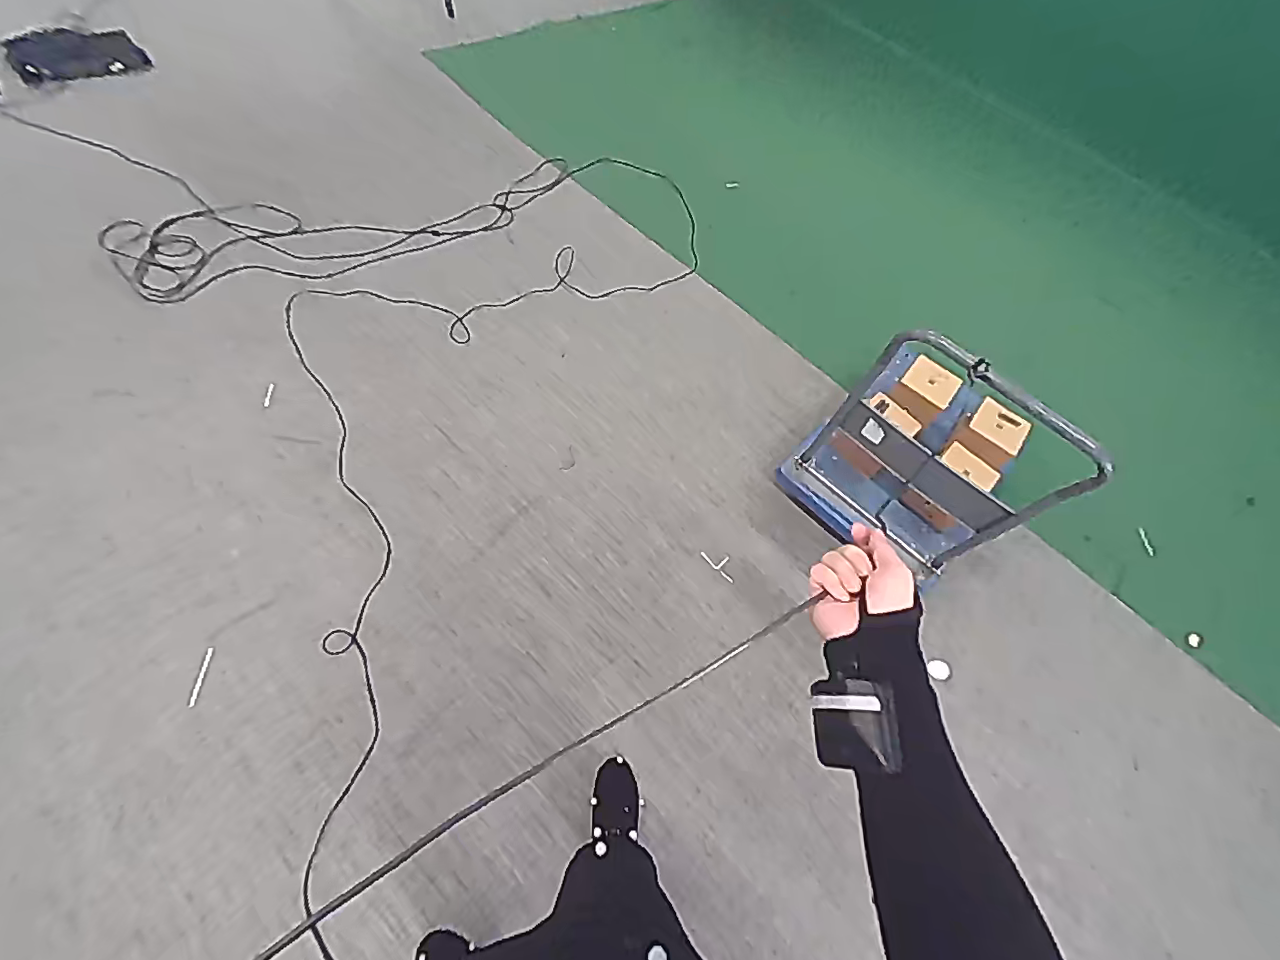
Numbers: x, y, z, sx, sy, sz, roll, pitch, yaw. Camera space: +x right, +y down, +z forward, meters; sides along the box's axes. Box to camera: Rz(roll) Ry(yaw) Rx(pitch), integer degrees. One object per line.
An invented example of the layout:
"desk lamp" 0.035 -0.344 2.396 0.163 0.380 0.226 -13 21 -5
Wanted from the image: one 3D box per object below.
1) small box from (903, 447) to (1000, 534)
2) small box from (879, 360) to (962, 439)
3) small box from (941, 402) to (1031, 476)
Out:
"small box" 0.965 0.035 1.692 0.179 0.176 0.168 -39 73 -26
"small box" 0.961 -0.273 1.869 0.168 0.176 0.179 40 62 12
"small box" 1.151 -0.119 1.812 0.168 0.176 0.179 39 62 14
